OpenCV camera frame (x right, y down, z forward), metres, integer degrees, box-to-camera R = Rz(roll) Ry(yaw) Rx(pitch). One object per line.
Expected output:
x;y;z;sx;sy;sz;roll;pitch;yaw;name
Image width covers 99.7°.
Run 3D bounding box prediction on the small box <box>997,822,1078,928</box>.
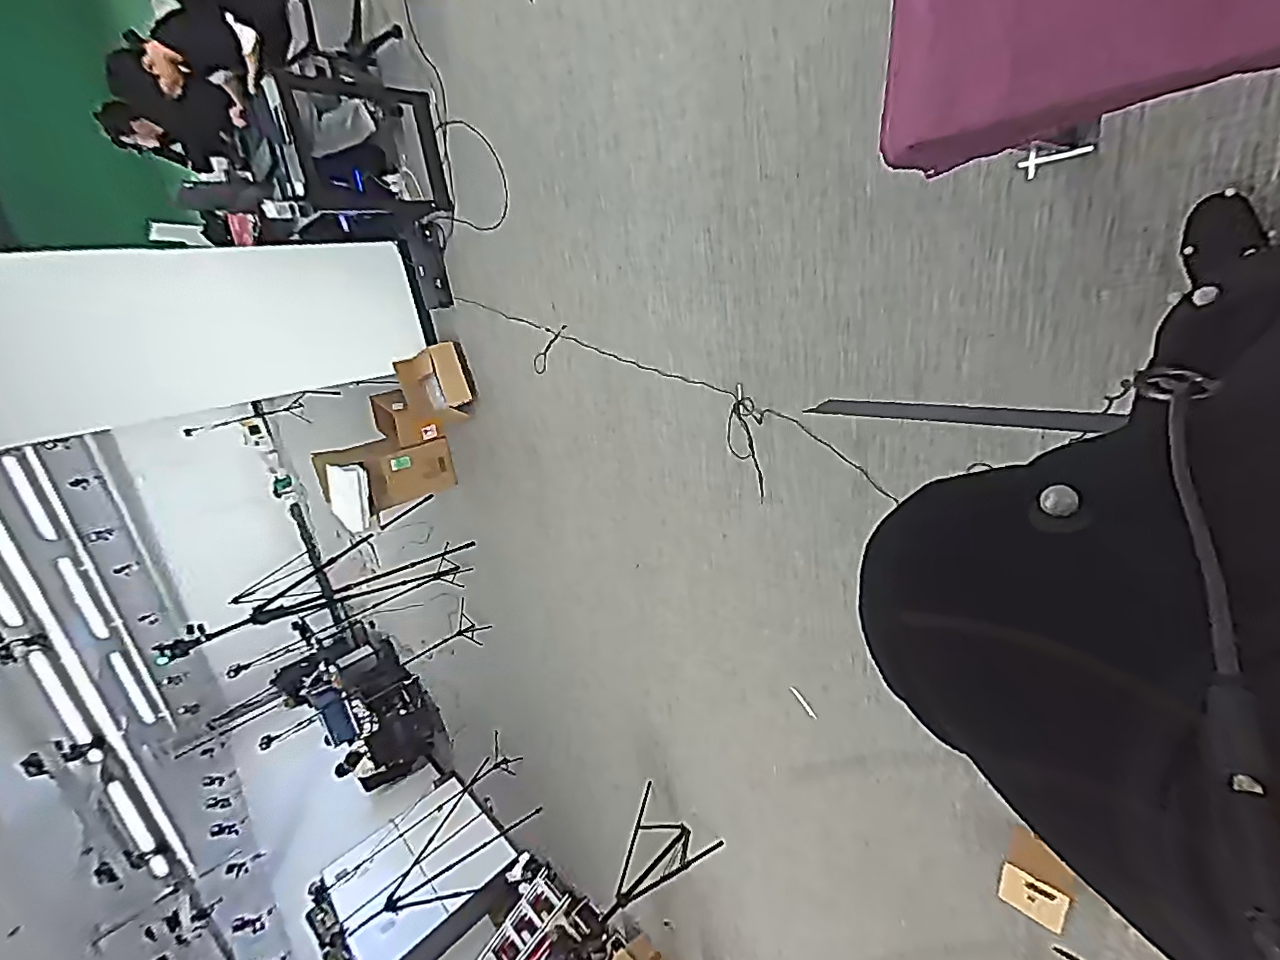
1.261;1.241;1.712;0.168;0.176;0.179;16;122;44;small box
